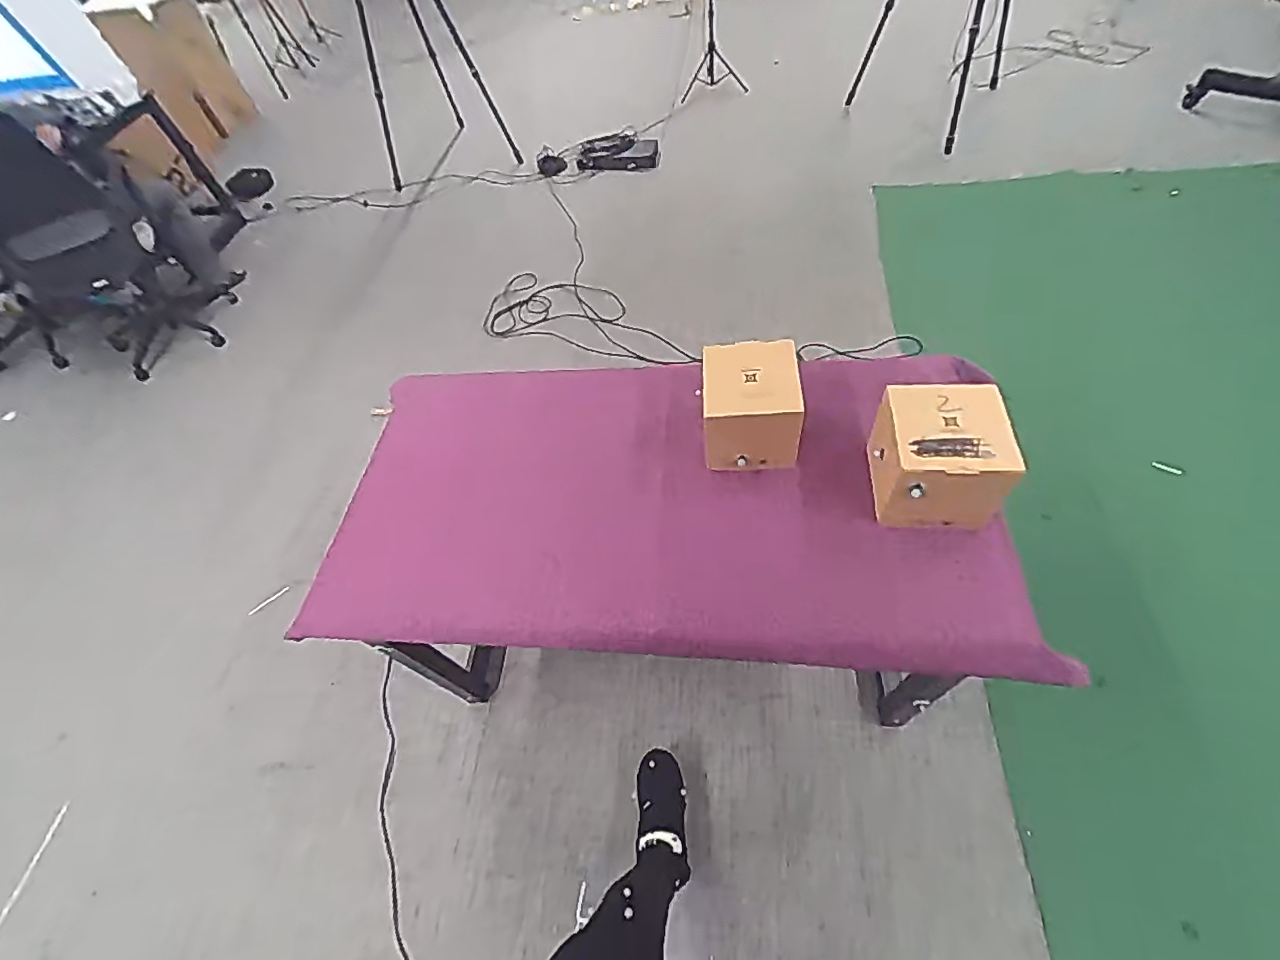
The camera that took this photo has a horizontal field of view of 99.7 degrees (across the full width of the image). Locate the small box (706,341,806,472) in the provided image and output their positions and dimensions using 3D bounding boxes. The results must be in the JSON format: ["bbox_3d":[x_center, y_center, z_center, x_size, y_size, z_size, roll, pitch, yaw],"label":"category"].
[{"bbox_3d":[0.207,-0.133,1.004,0.168,0.176,0.179,-1,56,9],"label":"small box"}]
